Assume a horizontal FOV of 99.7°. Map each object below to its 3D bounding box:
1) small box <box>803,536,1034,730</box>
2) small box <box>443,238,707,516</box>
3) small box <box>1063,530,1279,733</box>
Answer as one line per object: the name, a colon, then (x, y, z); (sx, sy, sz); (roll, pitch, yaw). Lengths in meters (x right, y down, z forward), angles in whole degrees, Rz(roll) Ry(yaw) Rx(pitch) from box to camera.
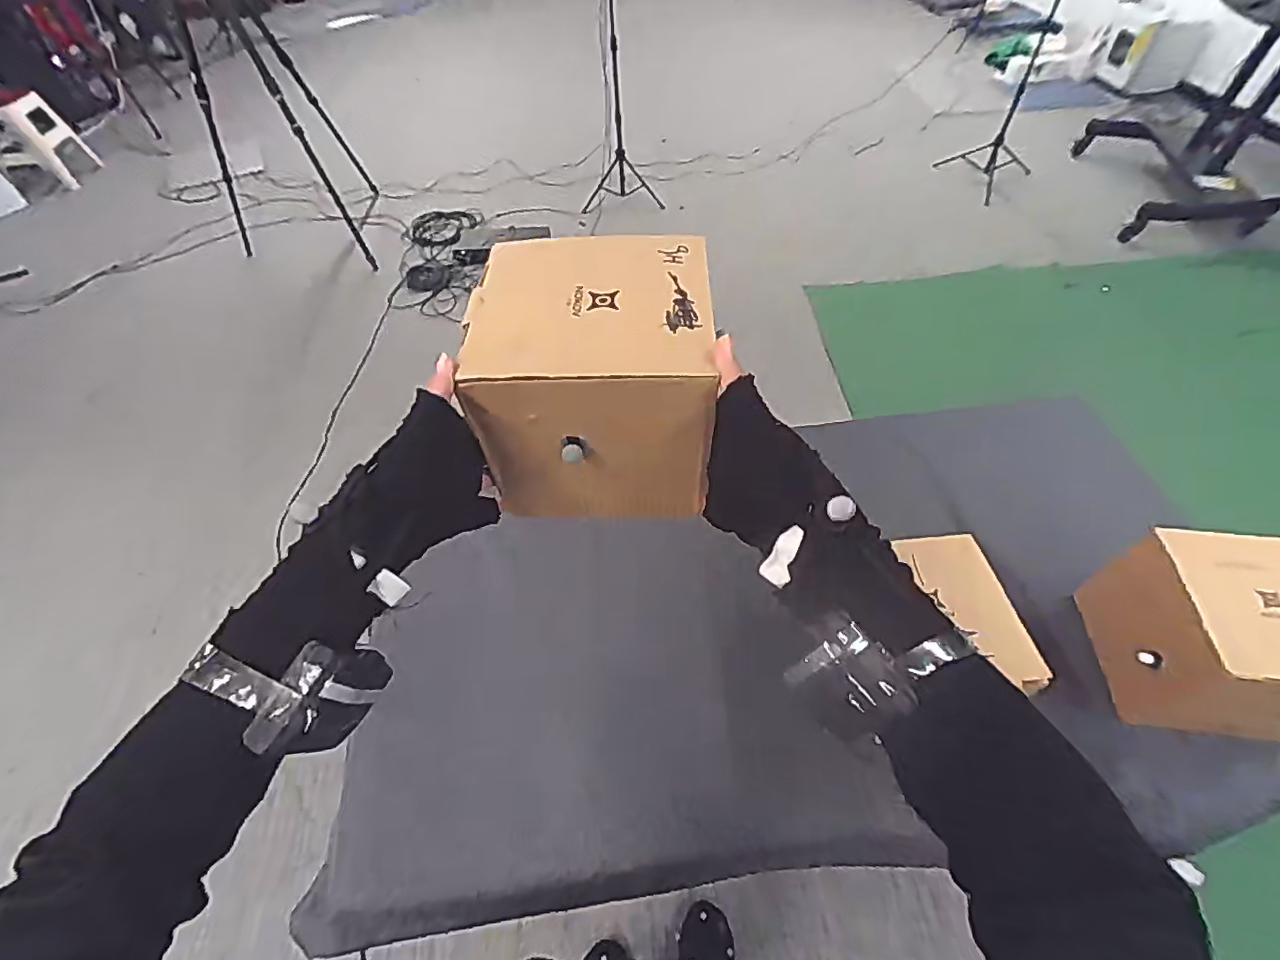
small box: (0.310, 0.189, 0.649); (0.168, 0.176, 0.179); (-5, 51, -1)
small box: (-0.036, -0.080, 0.457); (0.179, 0.176, 0.168); (0, 54, 3)
small box: (0.657, 0.183, 0.639); (0.168, 0.176, 0.179); (5, 51, 6)
